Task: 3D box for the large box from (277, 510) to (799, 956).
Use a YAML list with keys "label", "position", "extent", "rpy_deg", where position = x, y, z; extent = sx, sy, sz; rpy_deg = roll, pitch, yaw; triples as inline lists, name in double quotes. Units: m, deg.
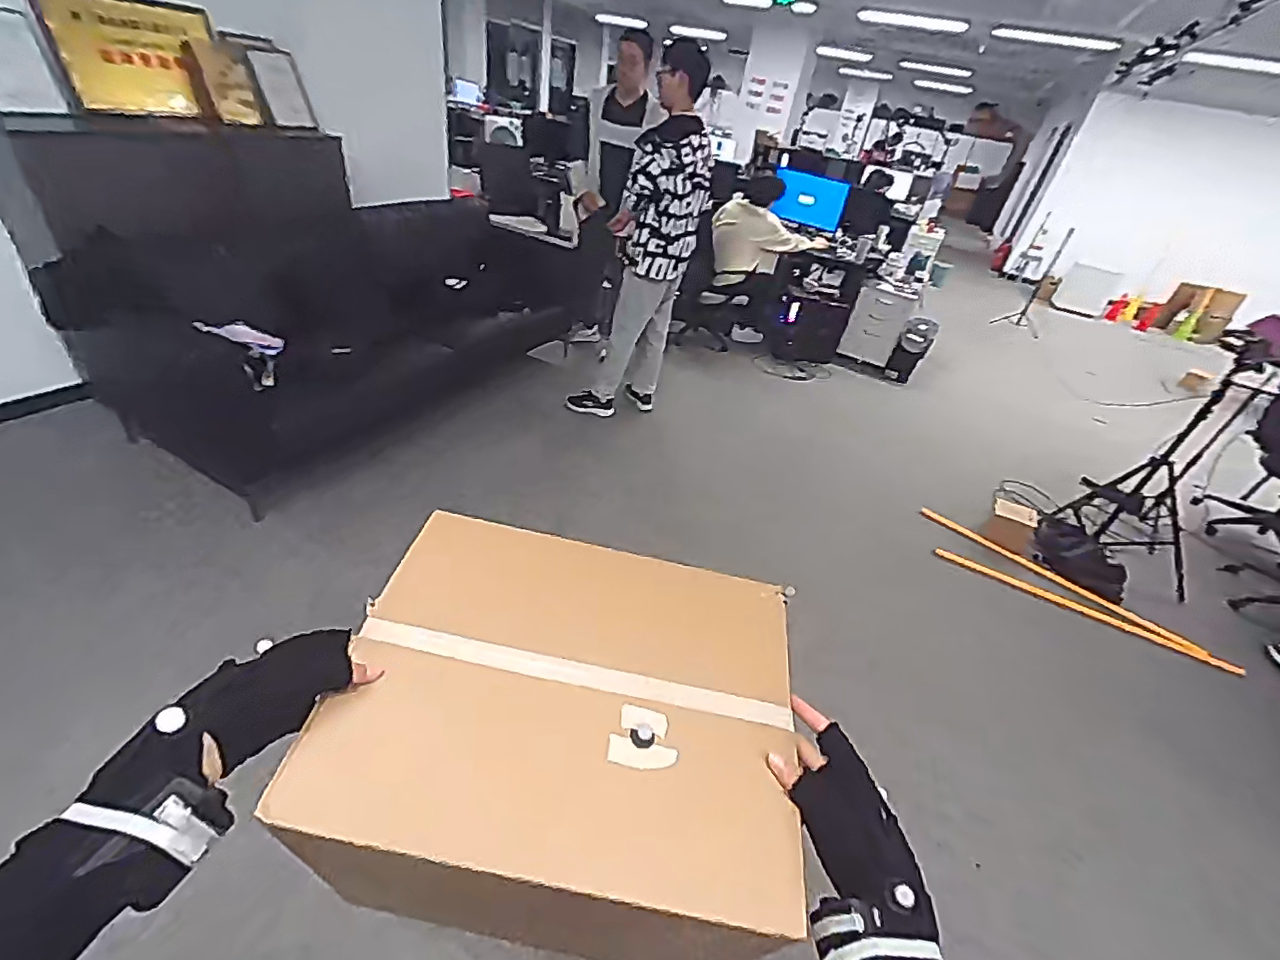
- label: "large box"
  position: [-0.084, 0.281, 0.607]
  extent: [0.408, 0.320, 0.320]
  rpy_deg: [13, 43, -2]
